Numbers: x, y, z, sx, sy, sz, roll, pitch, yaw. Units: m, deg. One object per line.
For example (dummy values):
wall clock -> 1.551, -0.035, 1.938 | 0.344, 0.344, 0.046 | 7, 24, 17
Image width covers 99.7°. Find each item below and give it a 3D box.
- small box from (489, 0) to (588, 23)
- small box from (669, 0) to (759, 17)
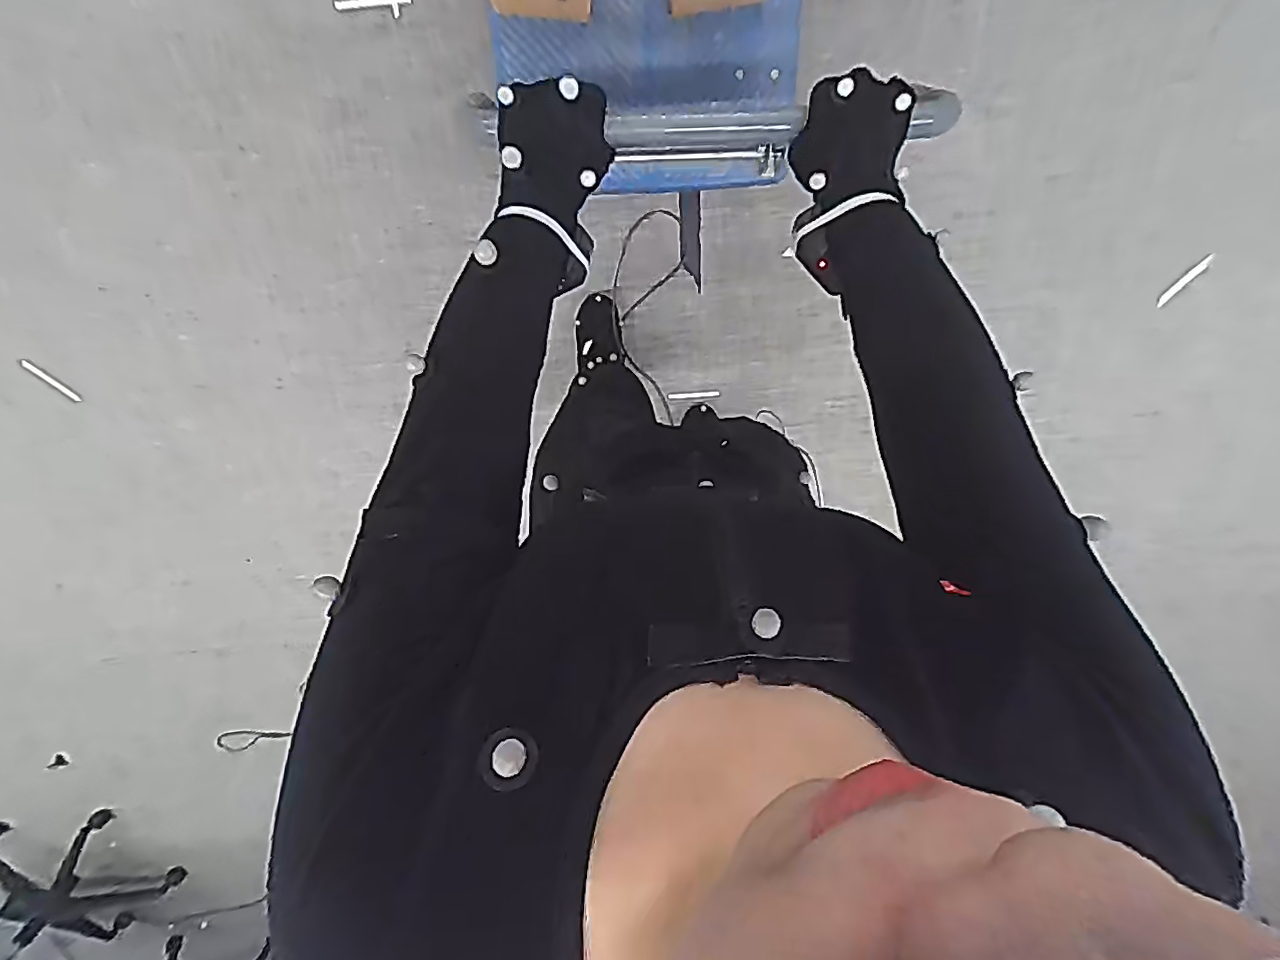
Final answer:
small box -> -0.173, -0.886, 0.884 | 0.179, 0.176, 0.168 | 1, 112, -6
small box -> 0.133, -0.907, 0.896 | 0.179, 0.176, 0.168 | -9, 113, 0
